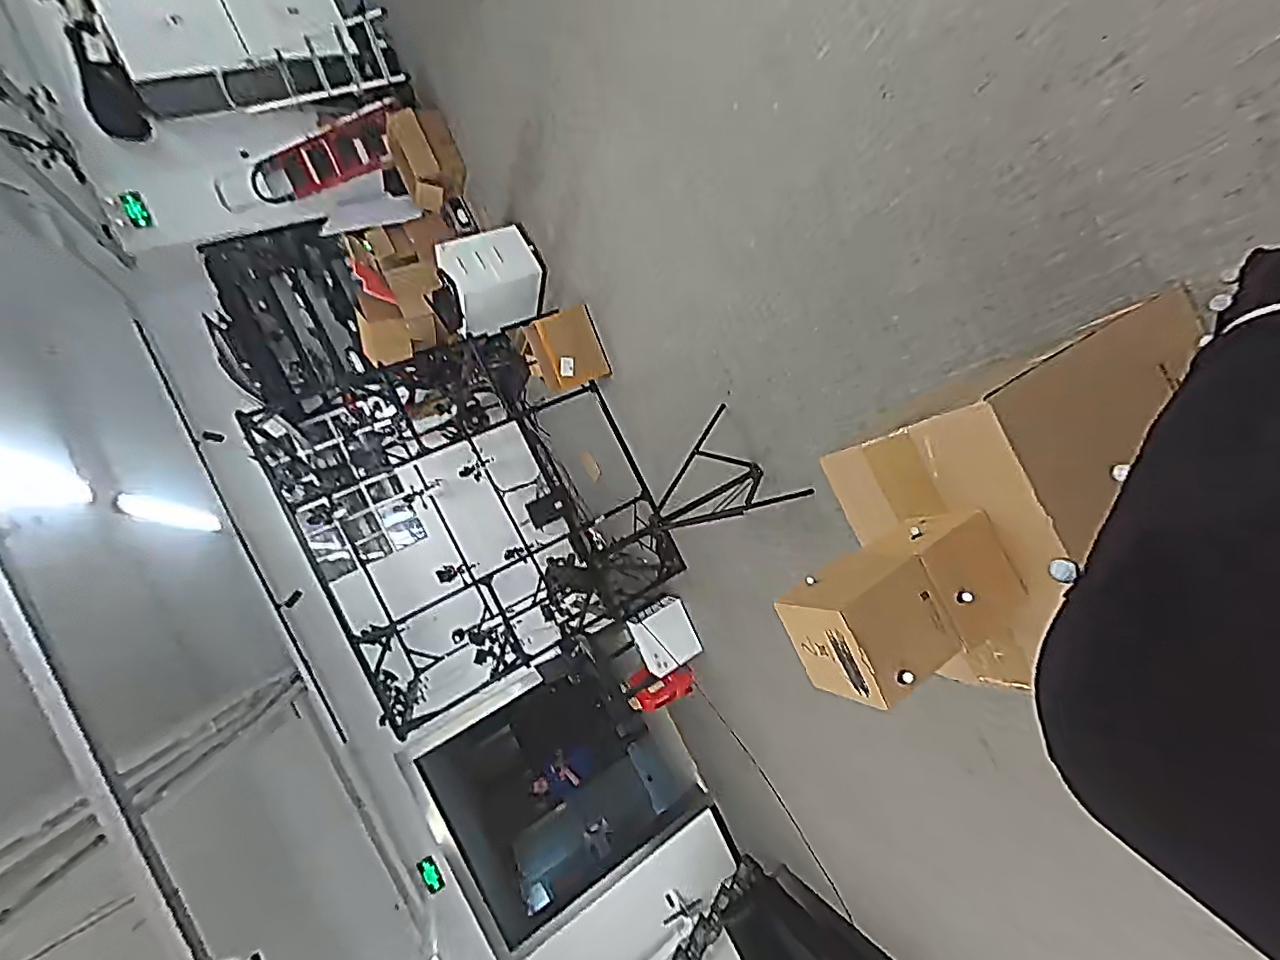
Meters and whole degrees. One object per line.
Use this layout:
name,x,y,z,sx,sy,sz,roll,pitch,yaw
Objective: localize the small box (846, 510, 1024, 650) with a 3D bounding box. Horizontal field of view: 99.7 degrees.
small box,0.500,0.162,0.924,0.179,0.176,0.168,62,158,0
